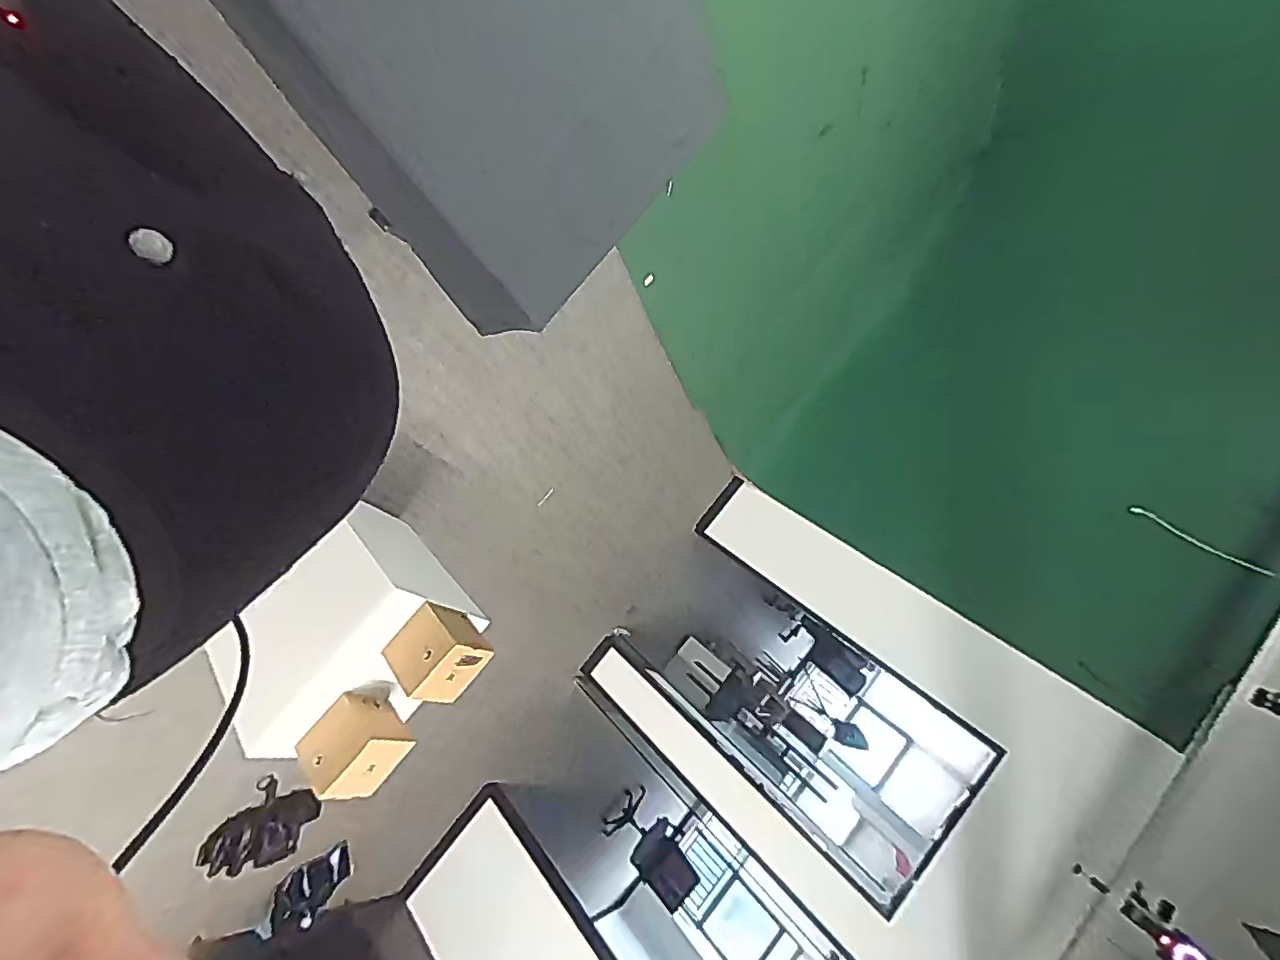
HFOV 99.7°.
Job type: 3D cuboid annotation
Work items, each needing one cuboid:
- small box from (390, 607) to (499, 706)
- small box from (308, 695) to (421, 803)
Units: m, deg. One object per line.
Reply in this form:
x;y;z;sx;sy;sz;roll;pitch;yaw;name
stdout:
-0.513;0.460;1.415;0.179;0.176;0.168;-49;147;-4;small box
-0.706;0.683;1.377;0.179;0.176;0.168;-50;148;-9;small box
